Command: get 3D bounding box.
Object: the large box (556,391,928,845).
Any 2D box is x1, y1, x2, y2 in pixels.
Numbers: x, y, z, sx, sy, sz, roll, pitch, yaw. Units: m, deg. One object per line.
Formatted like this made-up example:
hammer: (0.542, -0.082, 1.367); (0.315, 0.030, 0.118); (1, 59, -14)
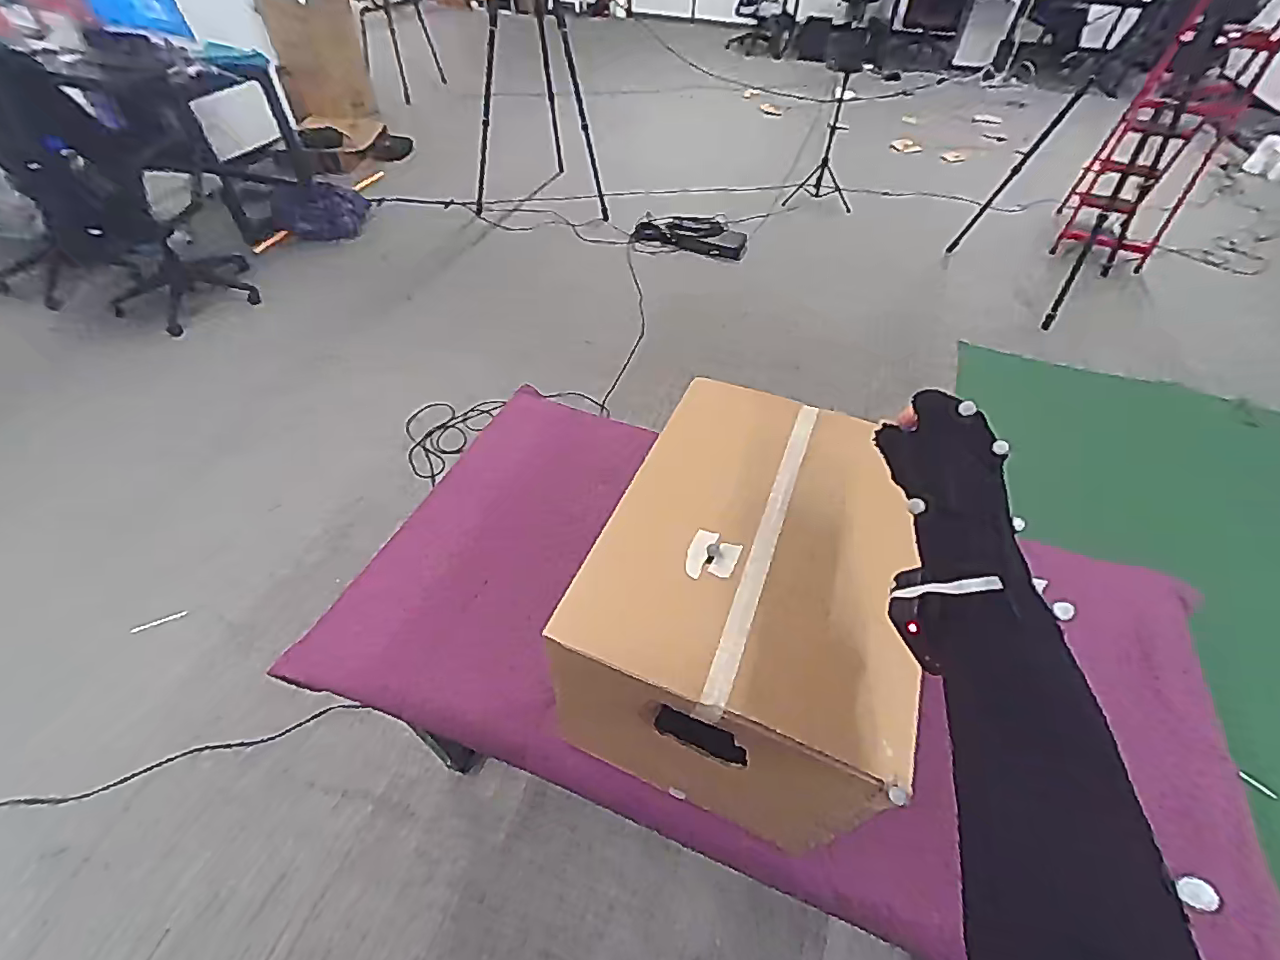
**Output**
large box: (0.130, 0.158, 0.687); (0.320, 0.320, 0.408); (19, 51, 14)
